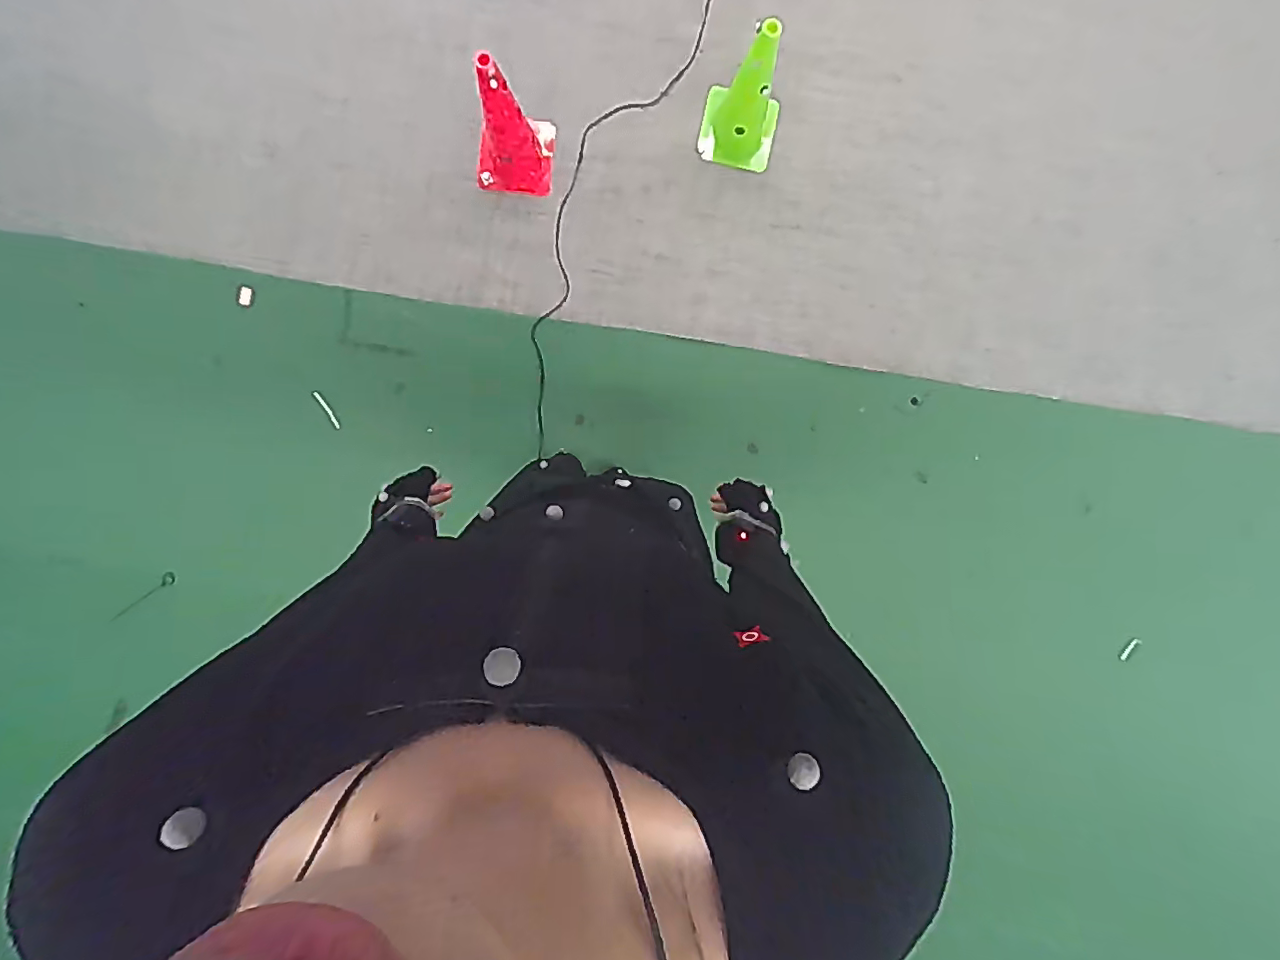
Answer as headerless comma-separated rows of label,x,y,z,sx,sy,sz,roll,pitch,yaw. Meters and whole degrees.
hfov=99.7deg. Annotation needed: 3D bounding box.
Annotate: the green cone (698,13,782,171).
green cone,0.276,-0.960,1.315,0.200,0.368,0.202,11,90,-2
